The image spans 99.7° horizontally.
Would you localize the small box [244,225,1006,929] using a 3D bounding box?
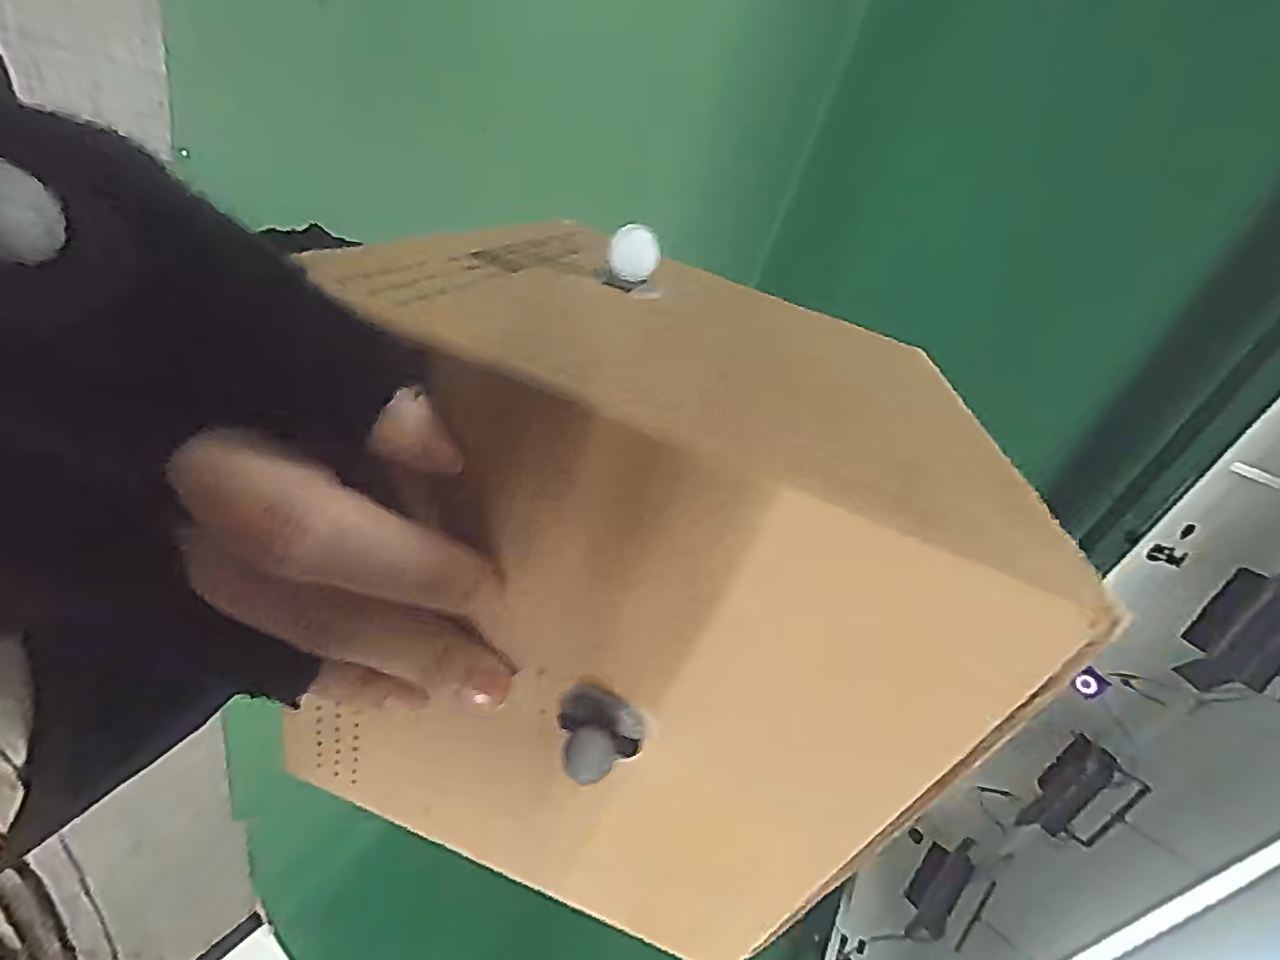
[{"bbox_3d":[-0.014,0.020,0.215,0.168,0.176,0.179,-63,174,-59],"label":"small box"}]
